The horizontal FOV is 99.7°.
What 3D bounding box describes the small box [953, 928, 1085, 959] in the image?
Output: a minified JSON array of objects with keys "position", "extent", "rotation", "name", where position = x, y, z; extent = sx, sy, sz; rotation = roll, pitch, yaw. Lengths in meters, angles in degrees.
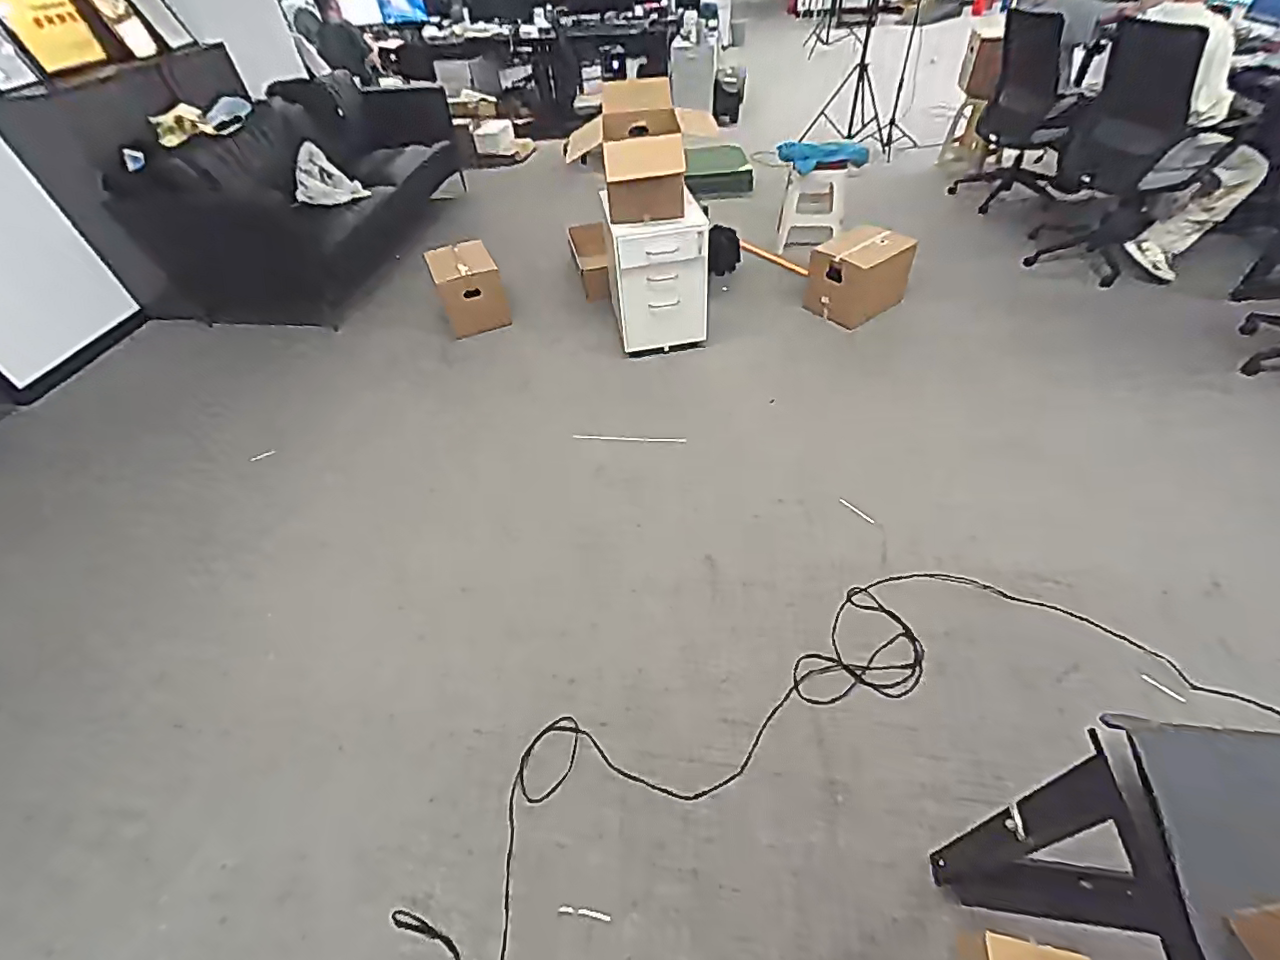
[{"position":[0.692,0.948,0.980],"extent":[0.179,0.176,0.168],"rotation":[7,47,11],"name":"small box"}]
